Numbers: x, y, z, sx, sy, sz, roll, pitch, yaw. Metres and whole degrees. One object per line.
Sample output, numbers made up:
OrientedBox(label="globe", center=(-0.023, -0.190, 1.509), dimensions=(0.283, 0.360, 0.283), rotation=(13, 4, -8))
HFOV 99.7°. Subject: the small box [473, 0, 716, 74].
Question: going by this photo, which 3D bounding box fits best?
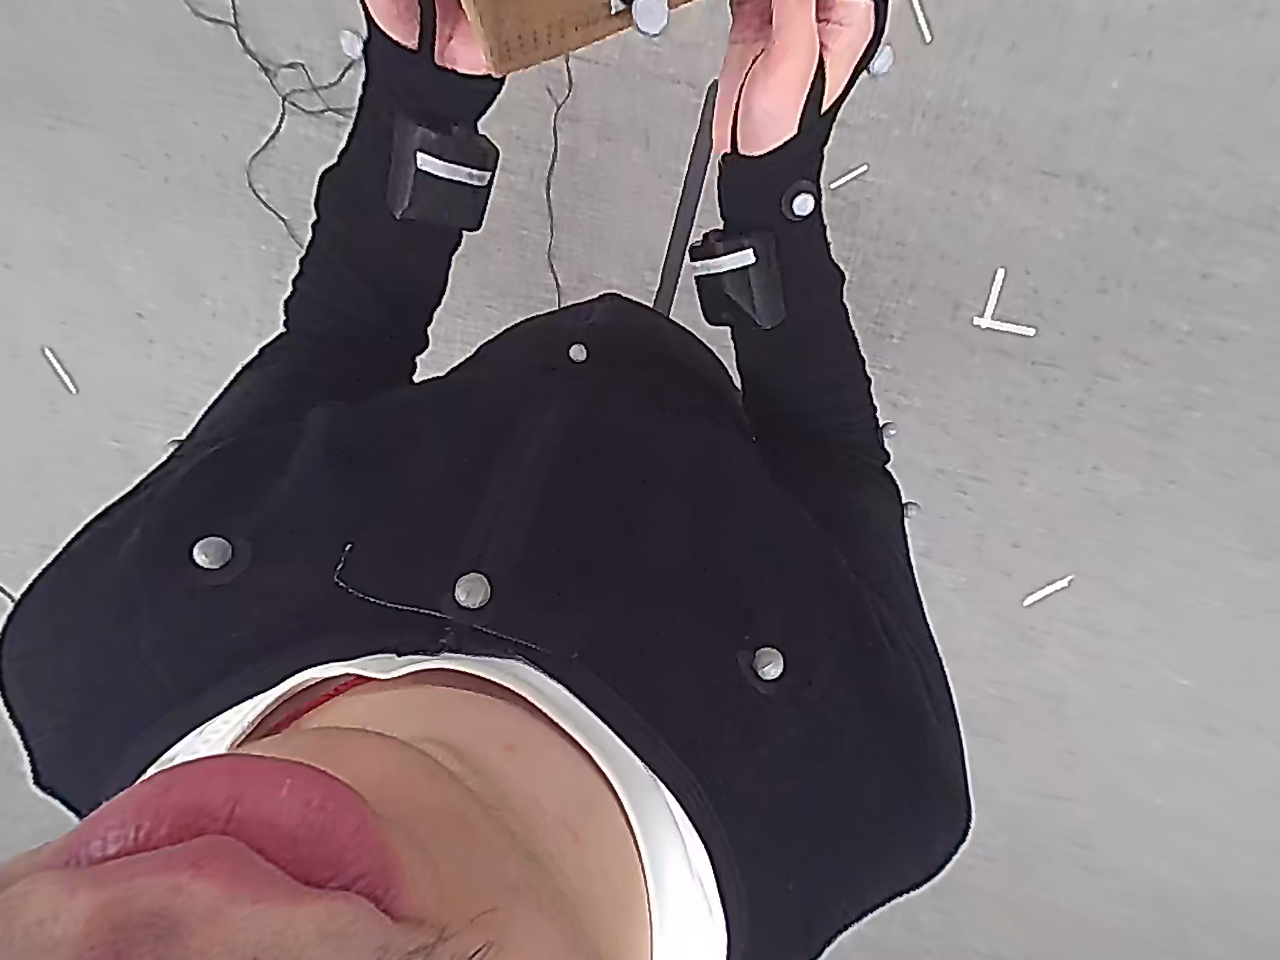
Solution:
OrientedBox(label="small box", center=(-0.014, -0.281, 0.166), dimensions=(0.168, 0.176, 0.179), rotation=(-23, 108, 1))
